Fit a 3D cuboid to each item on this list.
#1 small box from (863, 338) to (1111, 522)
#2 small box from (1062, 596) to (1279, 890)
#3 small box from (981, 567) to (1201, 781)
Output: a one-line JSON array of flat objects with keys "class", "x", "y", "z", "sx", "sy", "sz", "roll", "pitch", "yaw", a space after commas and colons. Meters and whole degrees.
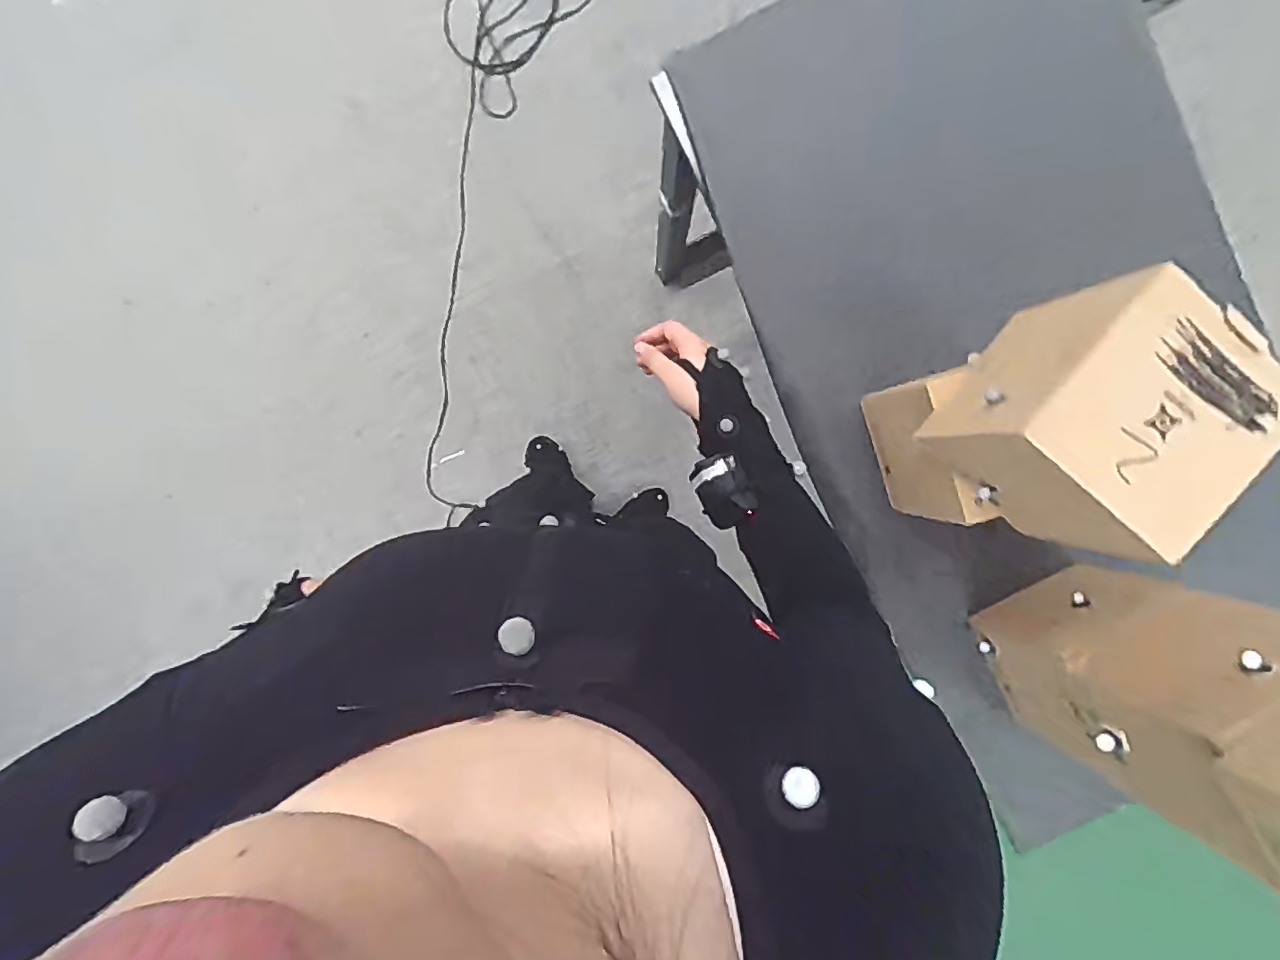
[{"class": "small box", "x": 0.412, "y": -0.059, "z": 0.669, "sx": 0.179, "sy": 0.176, "sz": 0.168, "roll": -17, "pitch": 92, "yaw": -1}, {"class": "small box", "x": 0.574, "y": 0.234, "z": 0.519, "sx": 0.179, "sy": 0.176, "sz": 0.168, "roll": -30, "pitch": 91, "yaw": 0}, {"class": "small box", "x": 0.573, "y": 0.228, "z": 0.681, "sx": 0.179, "sy": 0.176, "sz": 0.168, "roll": -26, "pitch": 92, "yaw": -2}]
